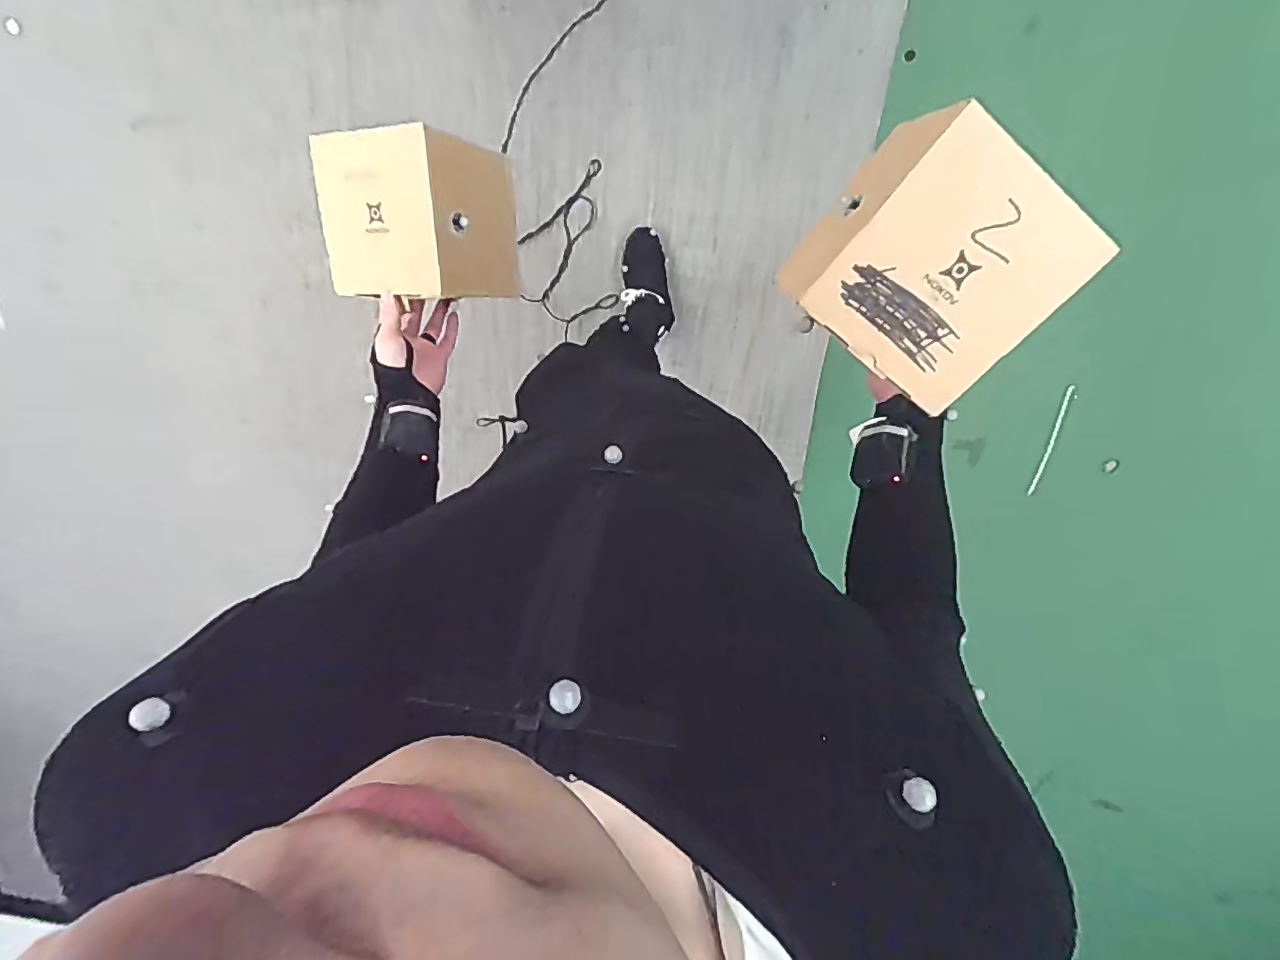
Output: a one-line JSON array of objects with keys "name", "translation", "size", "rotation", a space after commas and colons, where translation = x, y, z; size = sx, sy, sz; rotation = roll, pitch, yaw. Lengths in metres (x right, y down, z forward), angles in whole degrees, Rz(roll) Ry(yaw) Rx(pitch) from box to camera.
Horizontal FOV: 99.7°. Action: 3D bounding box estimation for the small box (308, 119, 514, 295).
[{"name": "small box", "translation": [-0.275, -0.330, 0.687], "size": [0.168, 0.176, 0.179], "rotation": [8, 110, 19]}]
